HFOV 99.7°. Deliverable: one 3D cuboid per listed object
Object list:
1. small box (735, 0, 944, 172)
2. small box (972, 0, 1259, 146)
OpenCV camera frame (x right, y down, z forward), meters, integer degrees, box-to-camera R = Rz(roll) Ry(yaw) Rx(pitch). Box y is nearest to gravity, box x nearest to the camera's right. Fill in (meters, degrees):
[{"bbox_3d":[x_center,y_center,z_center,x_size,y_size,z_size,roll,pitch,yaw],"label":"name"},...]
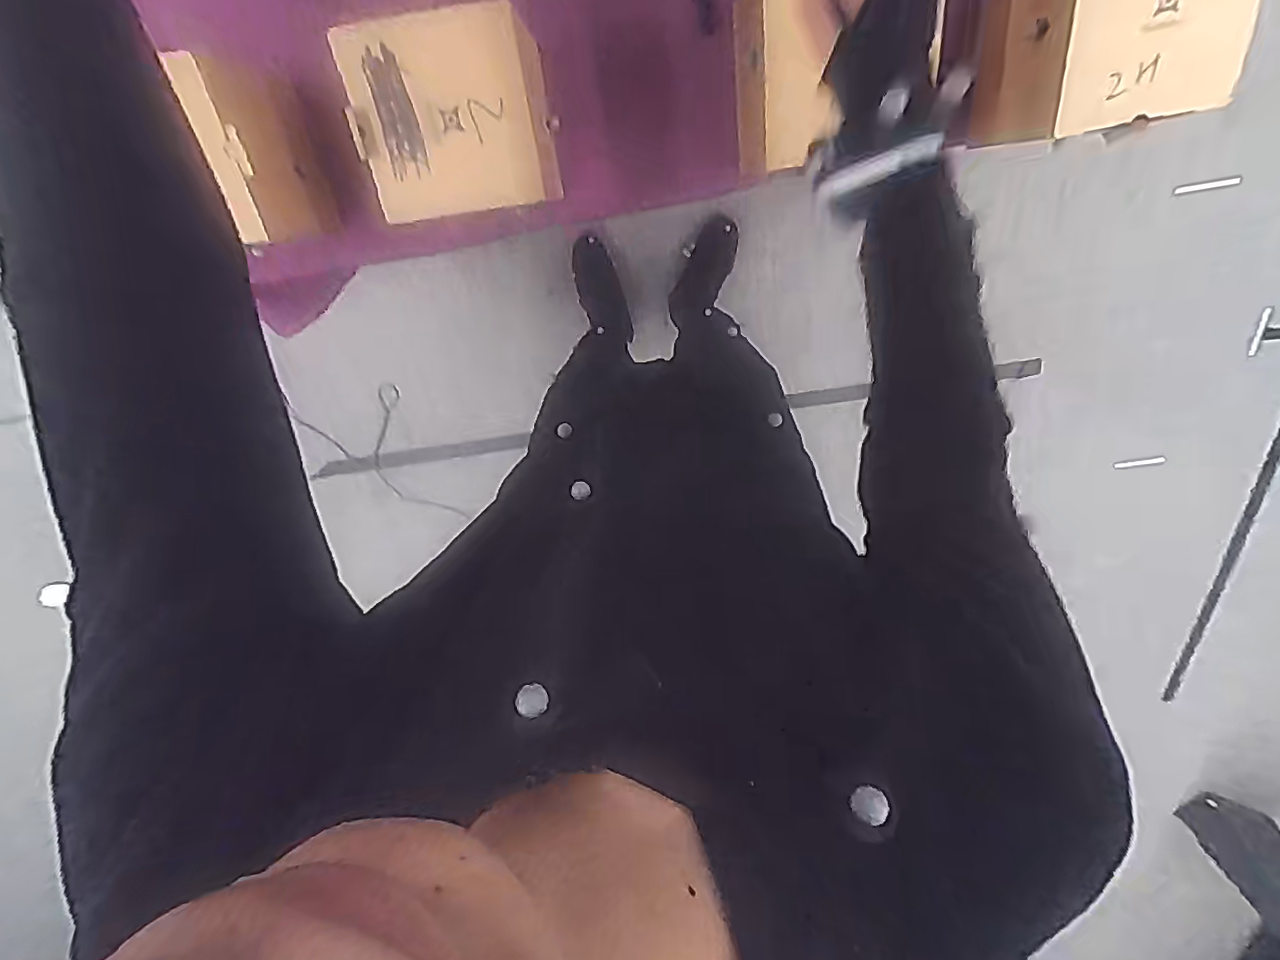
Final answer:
[{"bbox_3d":[0.197,-0.440,0.576,0.168,0.176,0.179,-7,119,4],"label":"small box"},{"bbox_3d":[0.475,-0.467,0.560,0.168,0.176,0.179,-8,118,6],"label":"small box"}]
